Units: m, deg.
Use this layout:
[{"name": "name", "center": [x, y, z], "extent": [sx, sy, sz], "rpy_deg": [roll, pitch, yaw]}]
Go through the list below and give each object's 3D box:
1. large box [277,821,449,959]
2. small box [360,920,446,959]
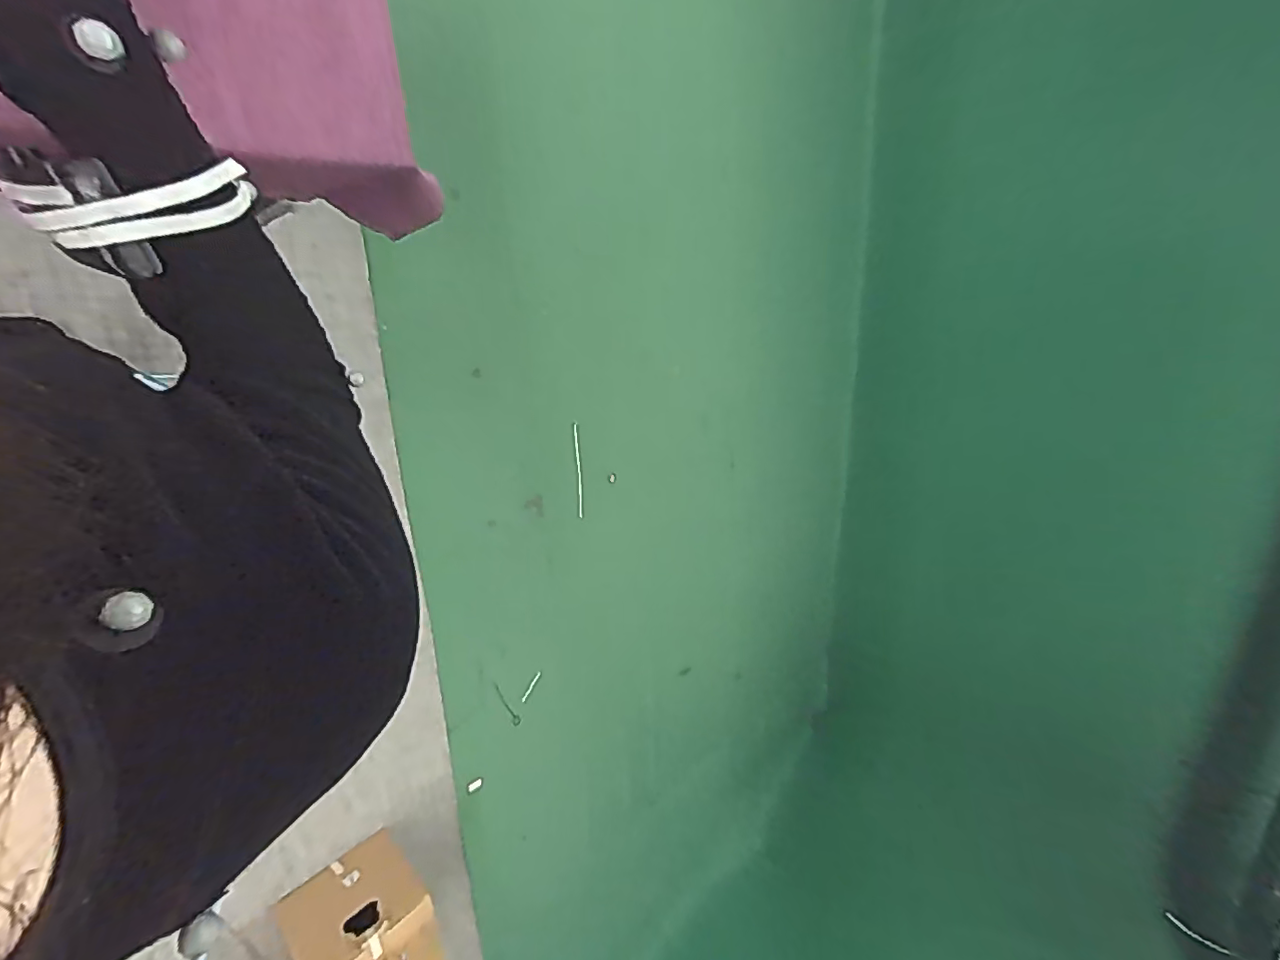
[{"name": "large box", "center": [-0.806, 1.334, 1.594], "extent": [0.320, 0.320, 0.408], "rpy_deg": [-21, 117, -43]}, {"name": "small box", "center": [-0.624, 1.331, 1.423], "extent": [0.168, 0.176, 0.179], "rpy_deg": [-7, 106, -48]}]
